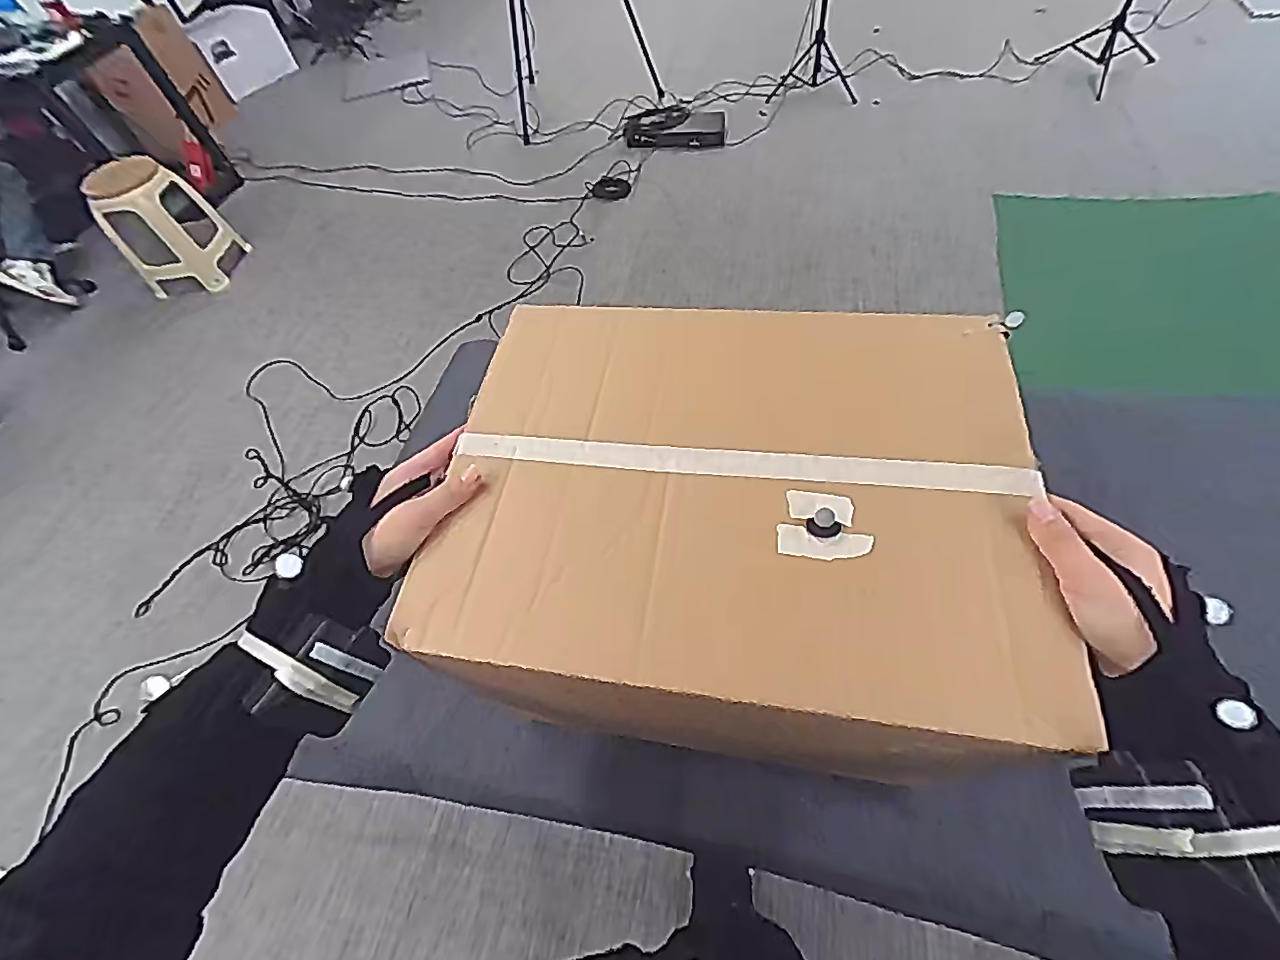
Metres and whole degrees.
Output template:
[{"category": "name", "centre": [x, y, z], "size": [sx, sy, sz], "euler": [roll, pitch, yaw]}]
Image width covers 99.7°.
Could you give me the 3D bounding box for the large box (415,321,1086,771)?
[{"category": "large box", "centre": [0.080, 0.072, 0.521], "size": [0.408, 0.320, 0.320], "euler": [5, 60, 9]}]
